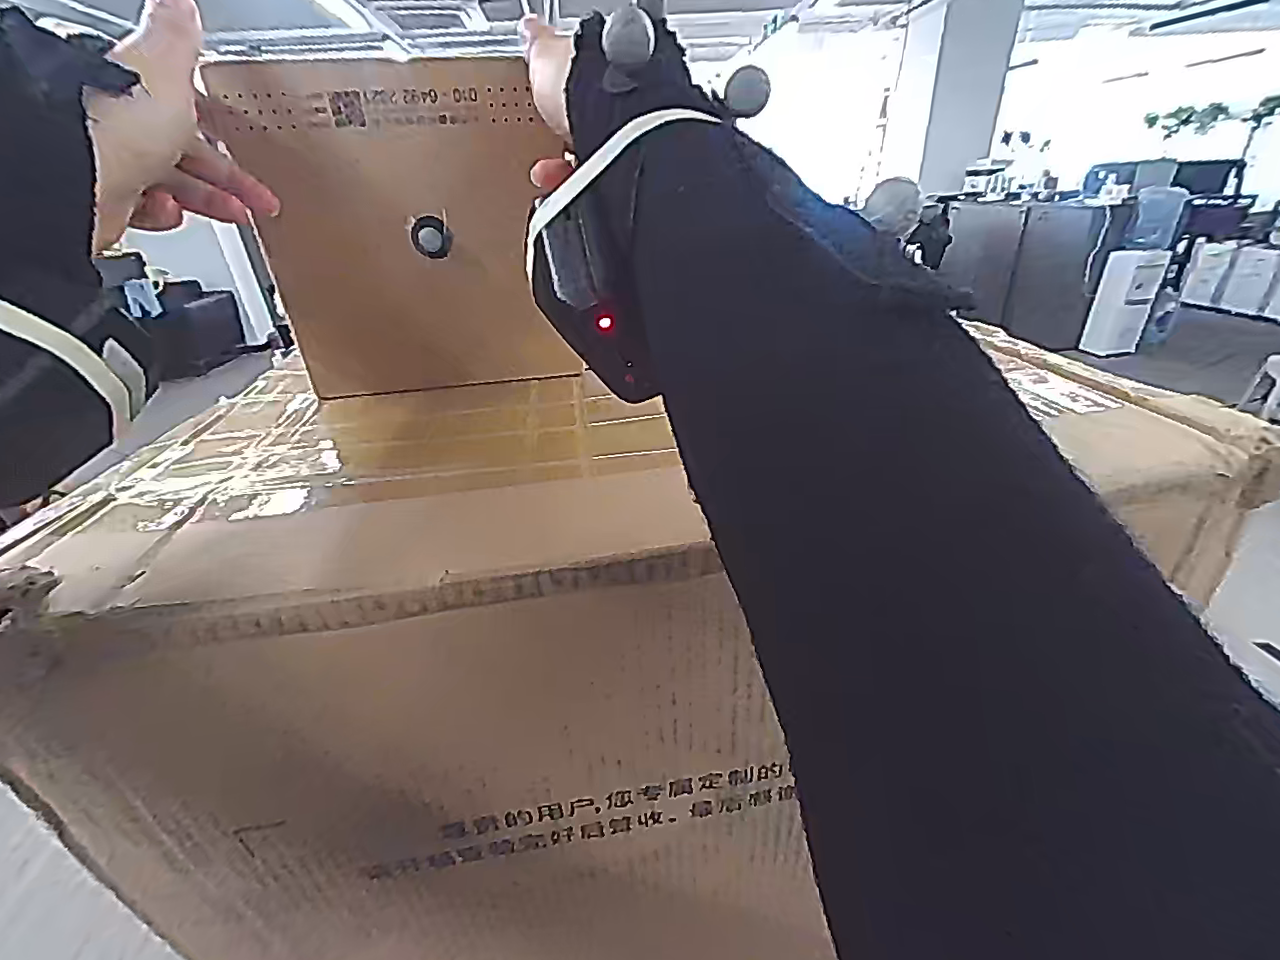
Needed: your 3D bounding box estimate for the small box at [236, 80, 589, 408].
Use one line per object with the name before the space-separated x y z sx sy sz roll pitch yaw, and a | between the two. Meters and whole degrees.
small box | -0.132 -0.167 0.377 0.168 0.176 0.179 -6 31 -8
